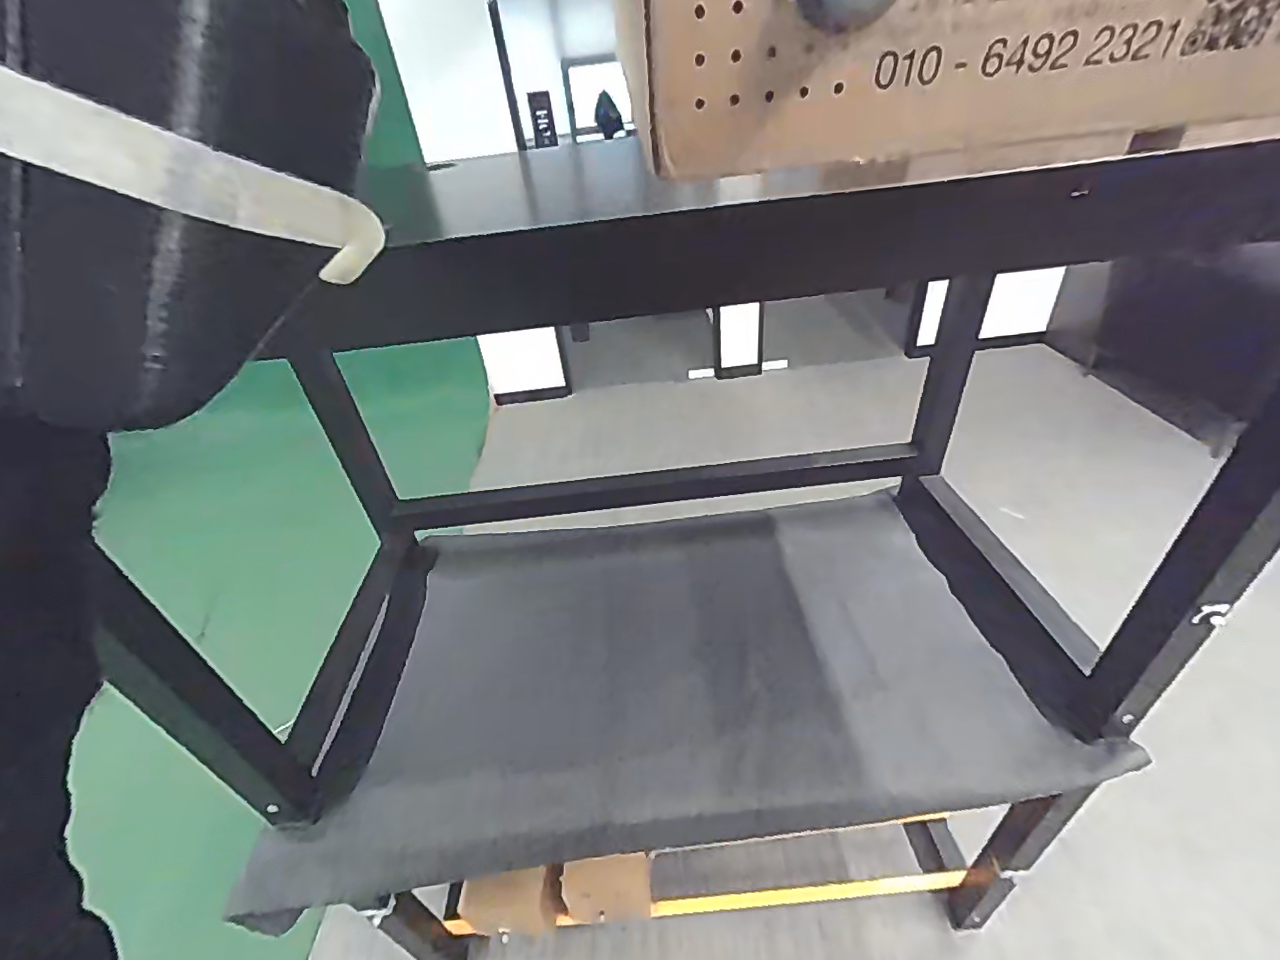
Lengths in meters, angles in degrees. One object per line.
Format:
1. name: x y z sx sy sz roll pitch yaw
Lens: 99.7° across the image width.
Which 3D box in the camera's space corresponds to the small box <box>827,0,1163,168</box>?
1. small box: 0.258 -0.351 0.422 0.168 0.176 0.179 -7 35 1
